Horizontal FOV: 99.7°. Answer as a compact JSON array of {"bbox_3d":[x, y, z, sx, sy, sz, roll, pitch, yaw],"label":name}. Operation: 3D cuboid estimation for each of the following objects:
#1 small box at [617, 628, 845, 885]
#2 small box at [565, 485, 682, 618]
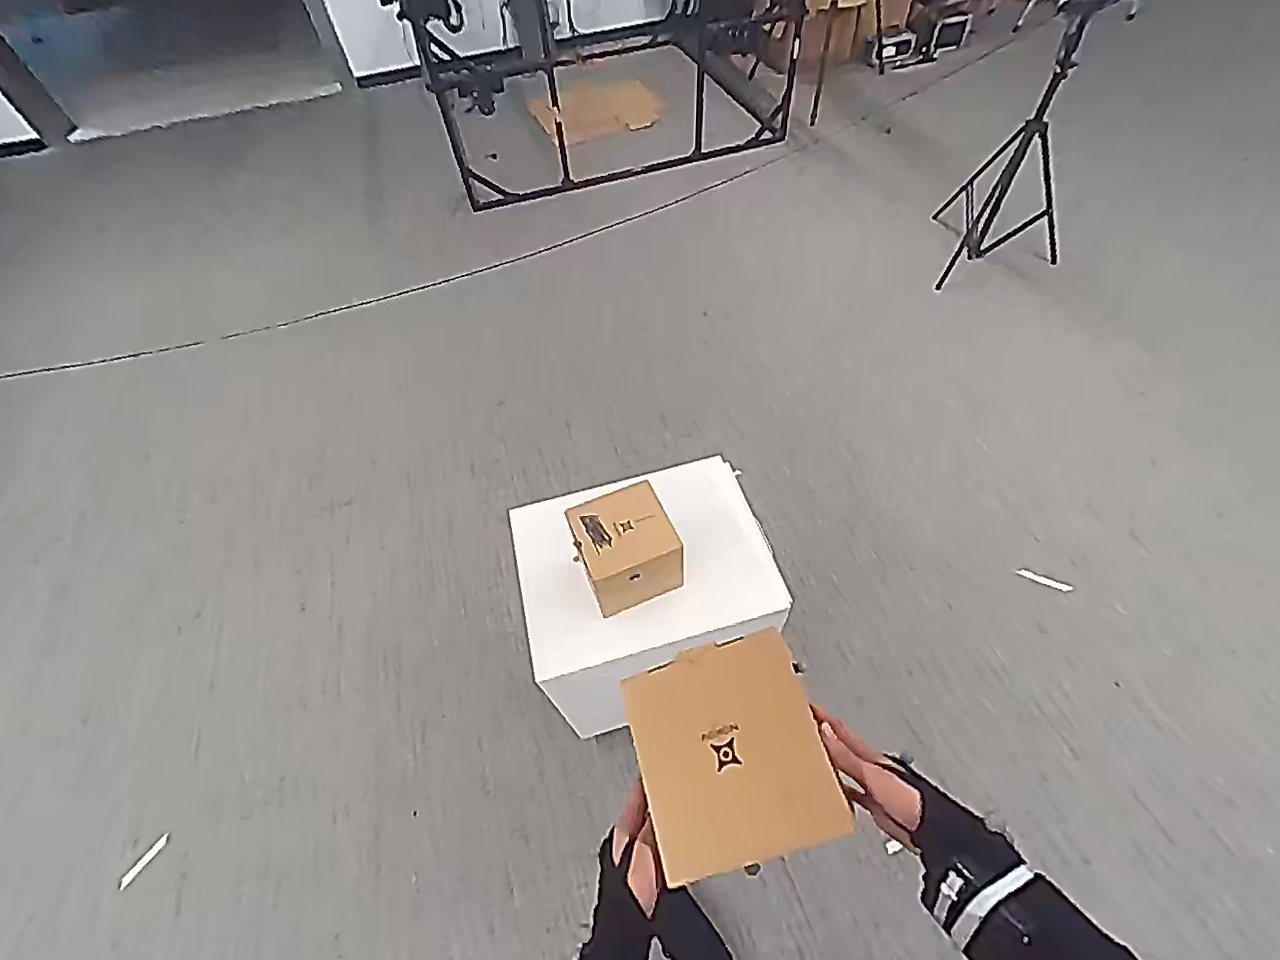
[{"bbox_3d":[0.098,0.275,0.553,0.168,0.176,0.179,-23,58,9],"label":"small box"},{"bbox_3d":[-0.027,0.144,1.053,0.179,0.176,0.168,-20,55,-11],"label":"small box"}]
